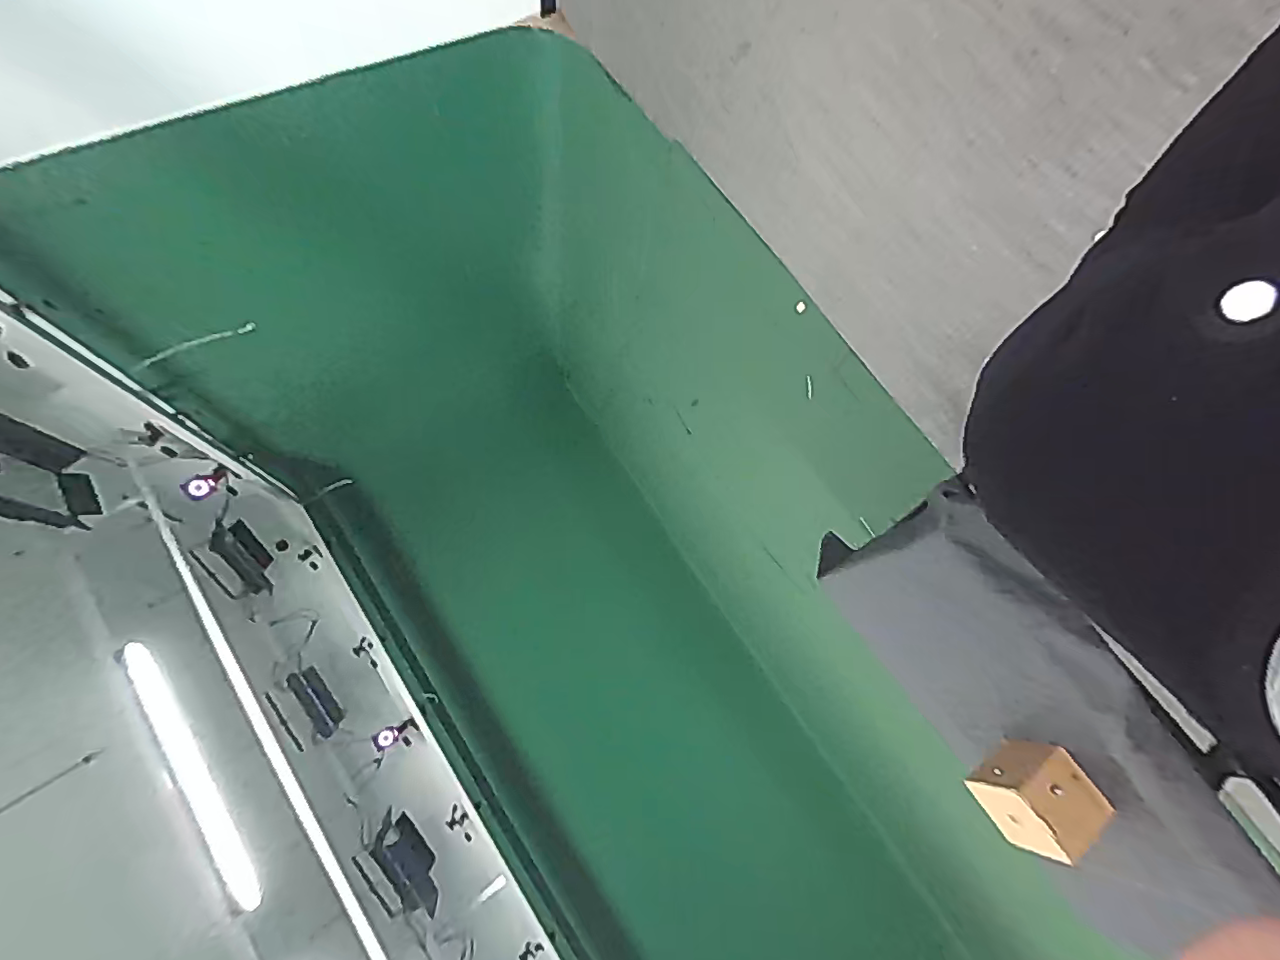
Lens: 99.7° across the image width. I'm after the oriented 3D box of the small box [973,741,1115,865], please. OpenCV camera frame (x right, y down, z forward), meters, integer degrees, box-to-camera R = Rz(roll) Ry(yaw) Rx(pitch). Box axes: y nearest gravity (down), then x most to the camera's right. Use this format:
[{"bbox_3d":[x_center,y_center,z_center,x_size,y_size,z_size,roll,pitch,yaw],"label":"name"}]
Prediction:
[{"bbox_3d":[0.931,0.727,1.243,0.168,0.176,0.179,55,163,13],"label":"small box"}]
